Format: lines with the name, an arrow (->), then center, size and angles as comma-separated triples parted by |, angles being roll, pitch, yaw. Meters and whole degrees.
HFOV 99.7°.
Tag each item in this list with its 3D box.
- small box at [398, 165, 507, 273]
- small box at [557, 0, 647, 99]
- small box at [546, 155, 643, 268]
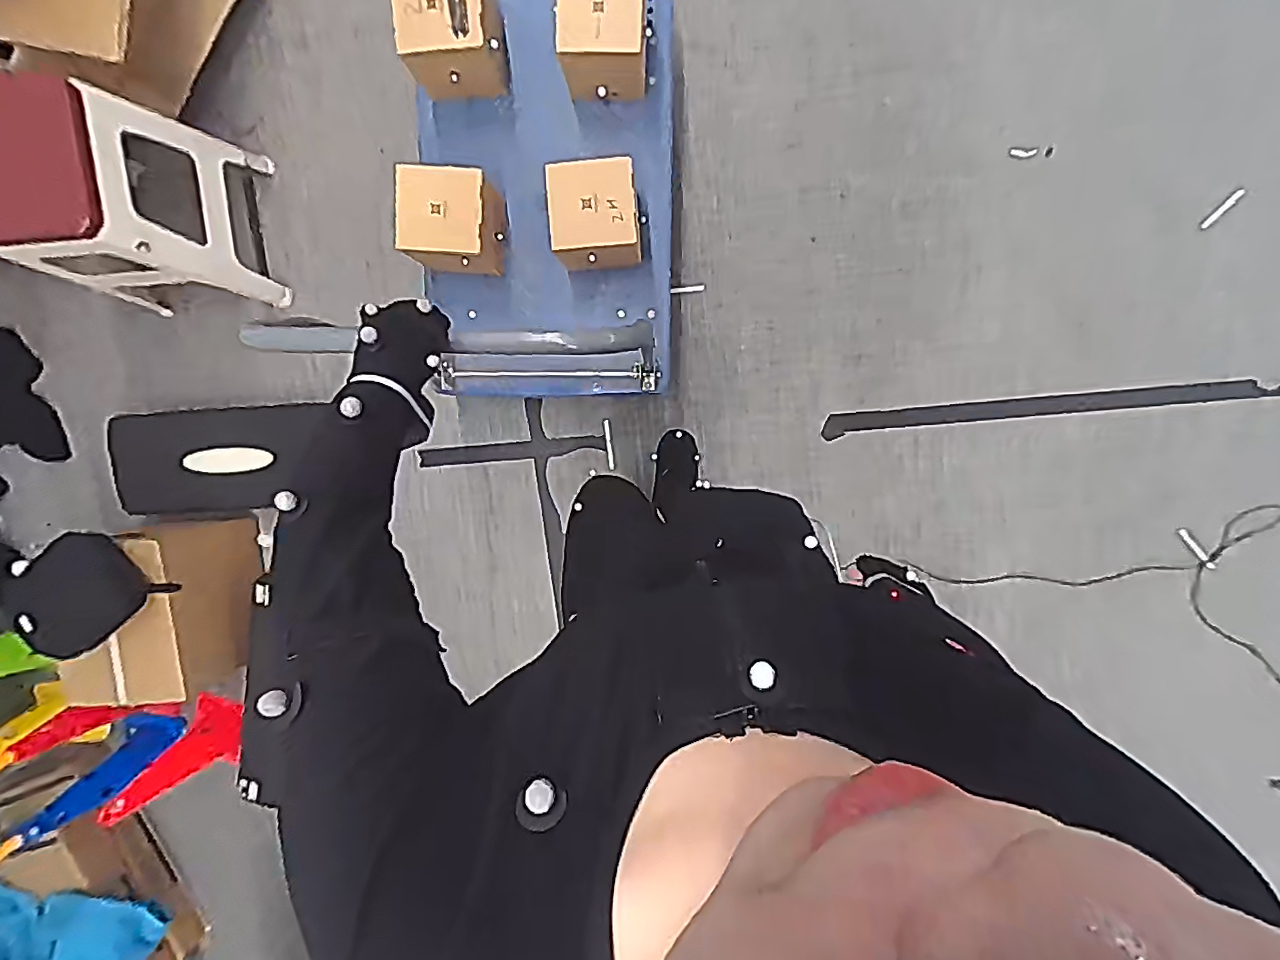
small box -> -0.399, -0.553, 1.165 | 0.179, 0.176, 0.168 | 3, 97, 1
small box -> -0.072, -0.918, 1.100 | 0.168, 0.176, 0.179 | 2, 99, 3
small box -> -0.090, -0.559, 1.149 | 0.179, 0.176, 0.168 | -4, 97, 3
